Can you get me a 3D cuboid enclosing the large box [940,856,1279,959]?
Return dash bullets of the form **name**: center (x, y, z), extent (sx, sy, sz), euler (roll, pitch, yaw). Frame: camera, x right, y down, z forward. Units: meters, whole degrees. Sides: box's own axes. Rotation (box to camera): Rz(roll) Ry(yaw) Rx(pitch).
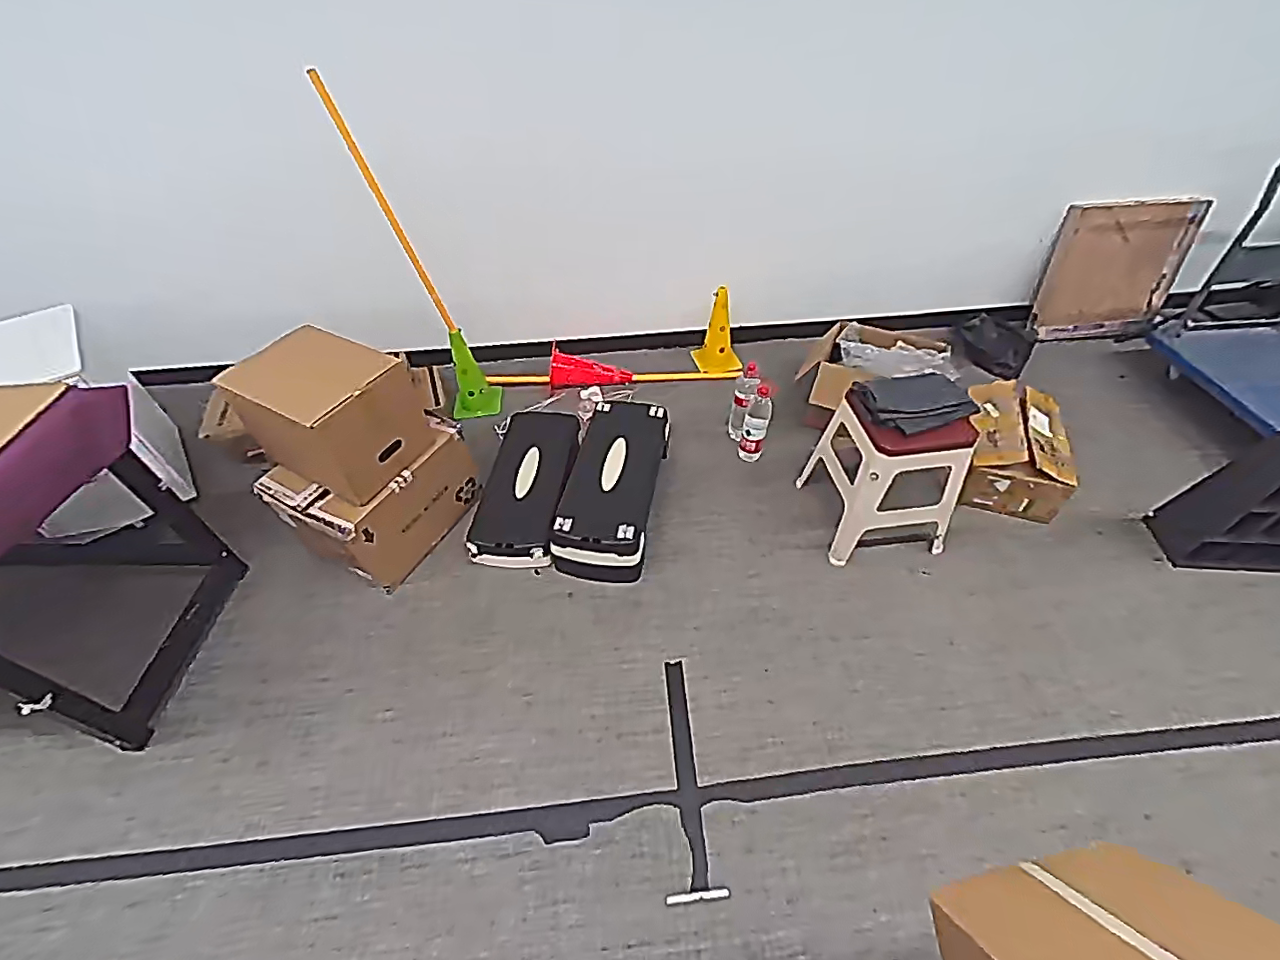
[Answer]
- **large box**: center (0.611, 0.694, 0.572), extent (0.320, 0.408, 0.320), euler (-9, 82, -6)
